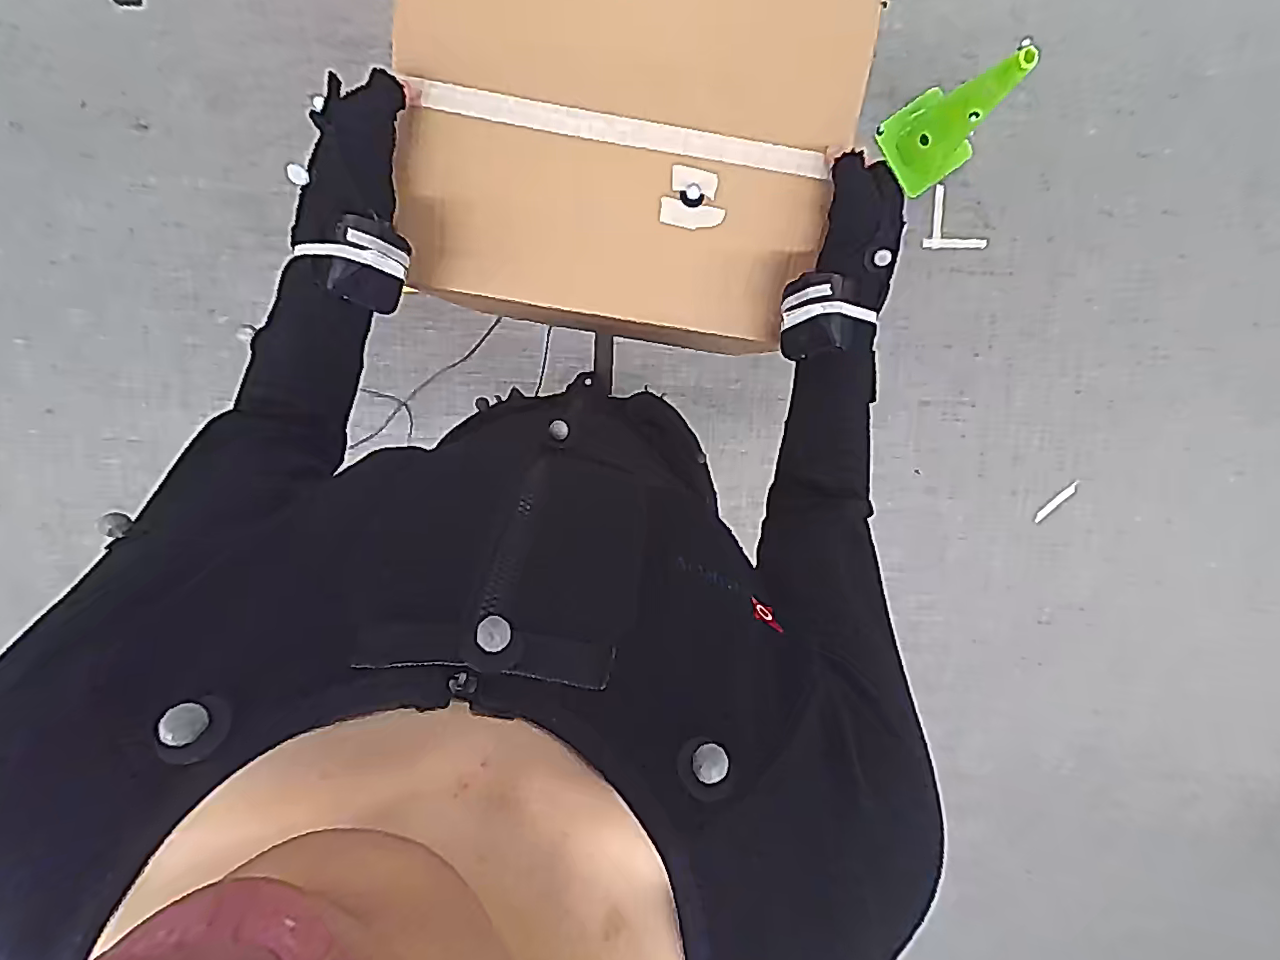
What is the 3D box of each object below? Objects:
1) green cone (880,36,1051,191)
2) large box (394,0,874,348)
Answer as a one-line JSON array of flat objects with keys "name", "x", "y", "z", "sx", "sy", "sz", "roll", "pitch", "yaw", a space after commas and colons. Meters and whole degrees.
[{"name": "green cone", "x": 0.744, "y": -0.843, "z": 1.201, "sx": 0.202, "sy": 0.368, "sz": 0.200, "roll": -36, "pitch": 100, "yaw": 1}, {"name": "large box", "x": -0.019, "y": -0.342, "z": 0.627, "sx": 0.408, "sy": 0.320, "sz": 0.320, "roll": 8, "pitch": 102, "yaw": -4}]
